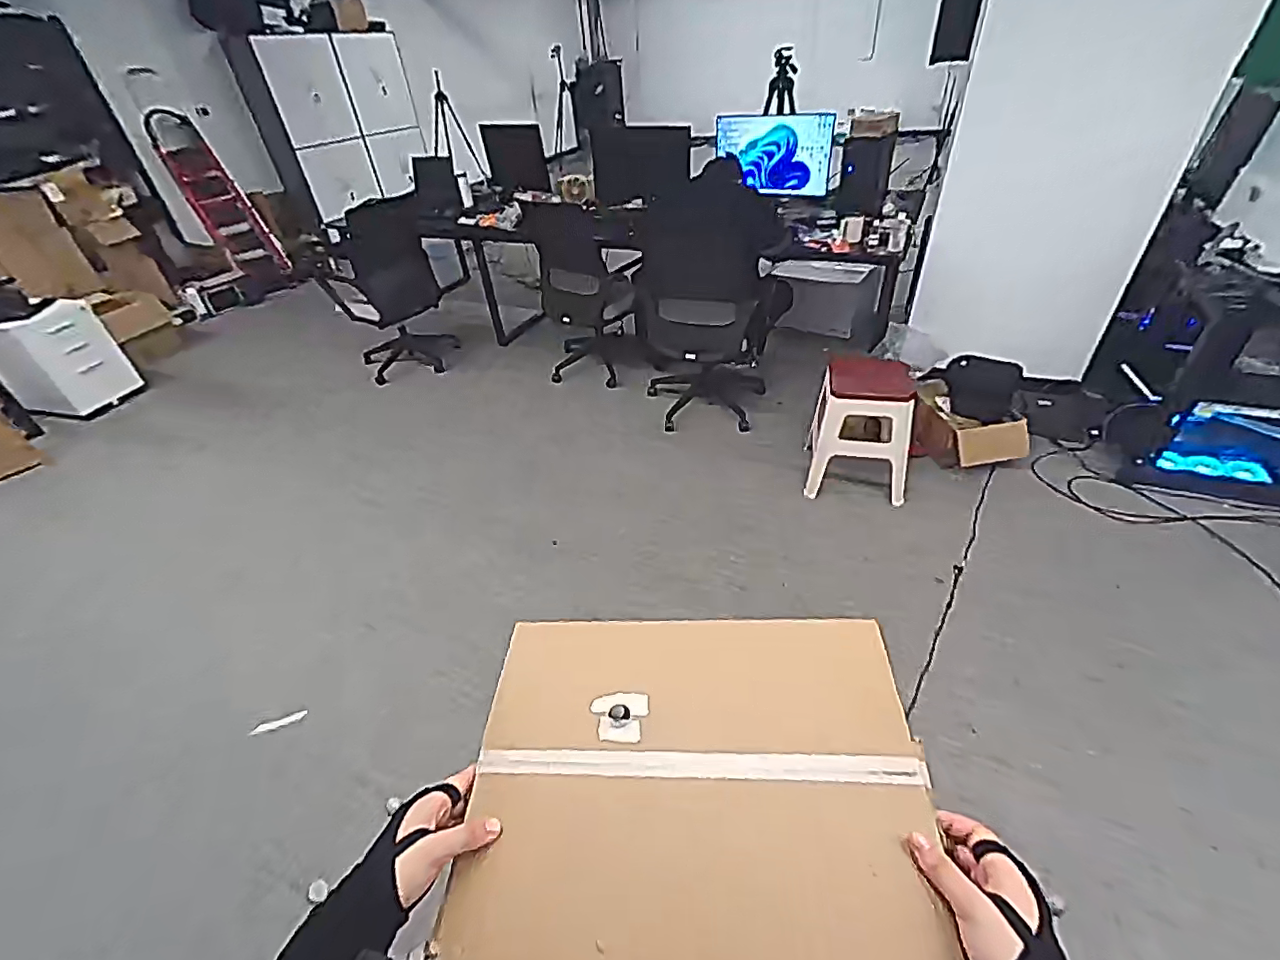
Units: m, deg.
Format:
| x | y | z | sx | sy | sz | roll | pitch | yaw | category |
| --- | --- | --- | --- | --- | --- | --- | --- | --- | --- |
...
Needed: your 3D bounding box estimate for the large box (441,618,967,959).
| x | y | z | sx | sy | sz | roll | pitch | yaw | category |
| --- | --- | --- | --- | --- | --- | --- | --- | --- | --- |
| 0.069 | 0.378 | 0.605 | 0.408 | 0.320 | 0.320 | -4 | 41 | 9 | large box |
